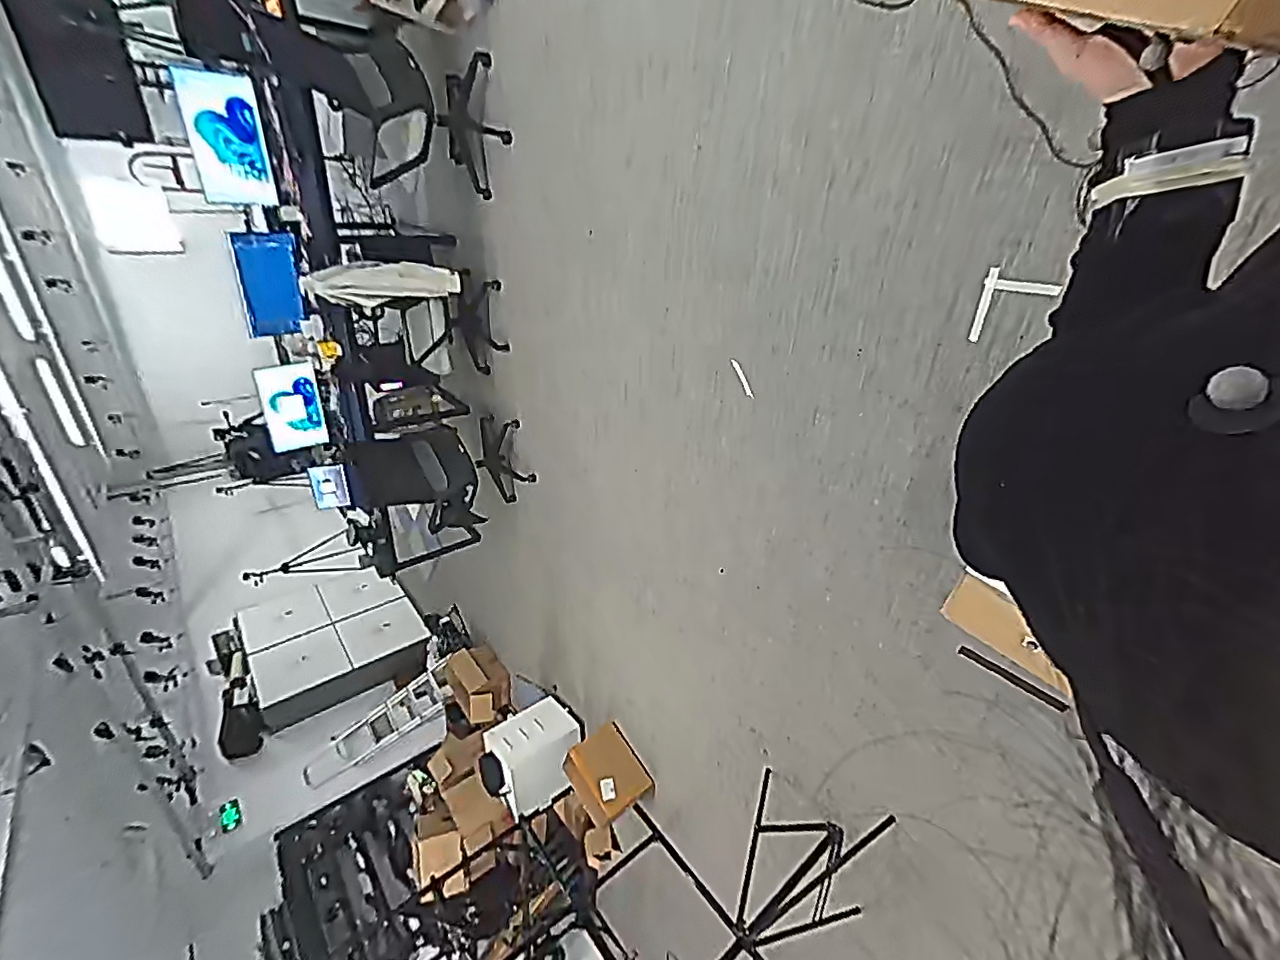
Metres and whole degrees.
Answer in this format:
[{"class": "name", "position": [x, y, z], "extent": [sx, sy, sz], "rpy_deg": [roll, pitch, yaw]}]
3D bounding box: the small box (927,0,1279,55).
[{"class": "small box", "position": [0.266, -0.317, 0.252], "extent": [0.179, 0.176, 0.168], "rpy_deg": [50, 146, 34]}]
